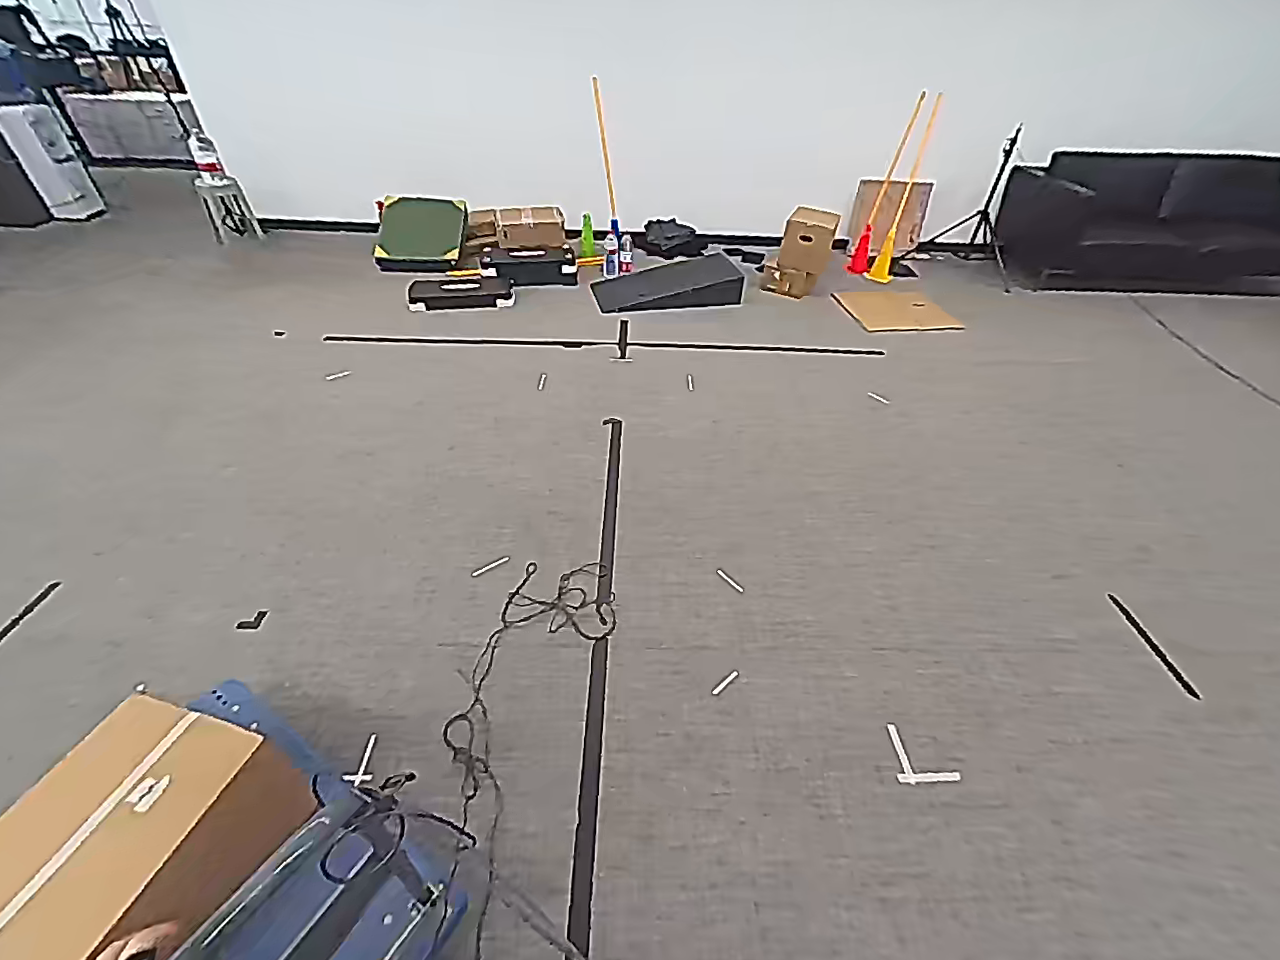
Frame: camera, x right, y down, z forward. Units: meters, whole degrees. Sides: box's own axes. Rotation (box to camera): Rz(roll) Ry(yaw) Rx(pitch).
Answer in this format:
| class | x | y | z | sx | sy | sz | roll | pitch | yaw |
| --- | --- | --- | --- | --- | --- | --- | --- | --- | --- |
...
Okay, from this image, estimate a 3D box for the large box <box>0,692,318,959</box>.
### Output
| class | x | y | z | sx | sy | sz | roll | pitch | yaw |
| --- | --- | --- | --- | --- | --- | --- | --- | --- | --- |
| large box | -0.907 | 0.685 | 0.995 | 0.320 | 0.320 | 0.408 | 13 | 42 | 10 |
